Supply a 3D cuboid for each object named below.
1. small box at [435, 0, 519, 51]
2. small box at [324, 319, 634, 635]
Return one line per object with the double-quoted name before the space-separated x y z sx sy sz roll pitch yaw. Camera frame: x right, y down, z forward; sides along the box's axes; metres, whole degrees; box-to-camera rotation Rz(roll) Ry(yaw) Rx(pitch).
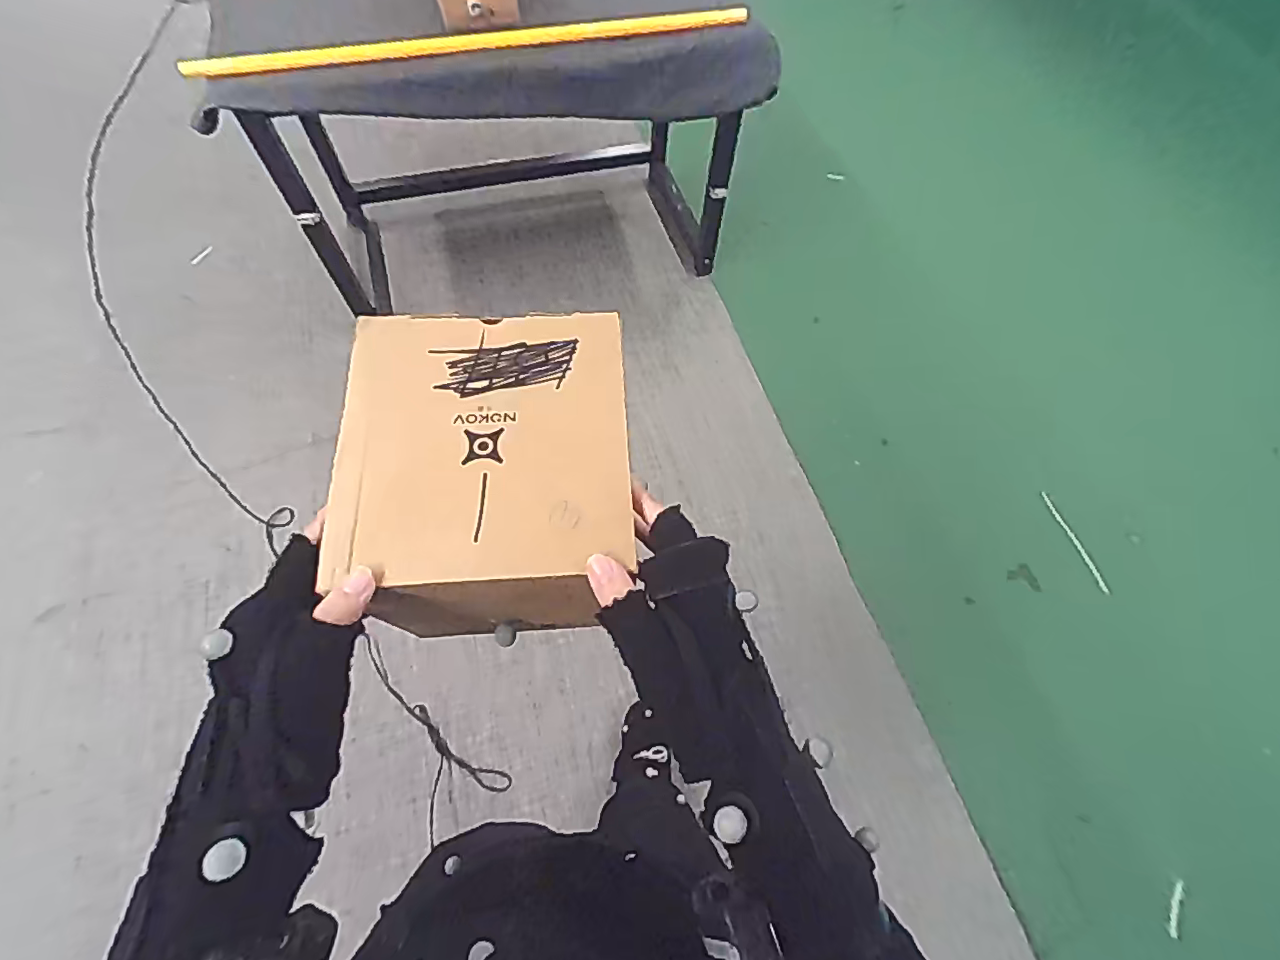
"small box" -0.381 -1.110 1.217 0.168 0.176 0.179 -17 65 -10
"small box" -0.095 0.007 0.395 0.168 0.176 0.179 -3 66 -4
